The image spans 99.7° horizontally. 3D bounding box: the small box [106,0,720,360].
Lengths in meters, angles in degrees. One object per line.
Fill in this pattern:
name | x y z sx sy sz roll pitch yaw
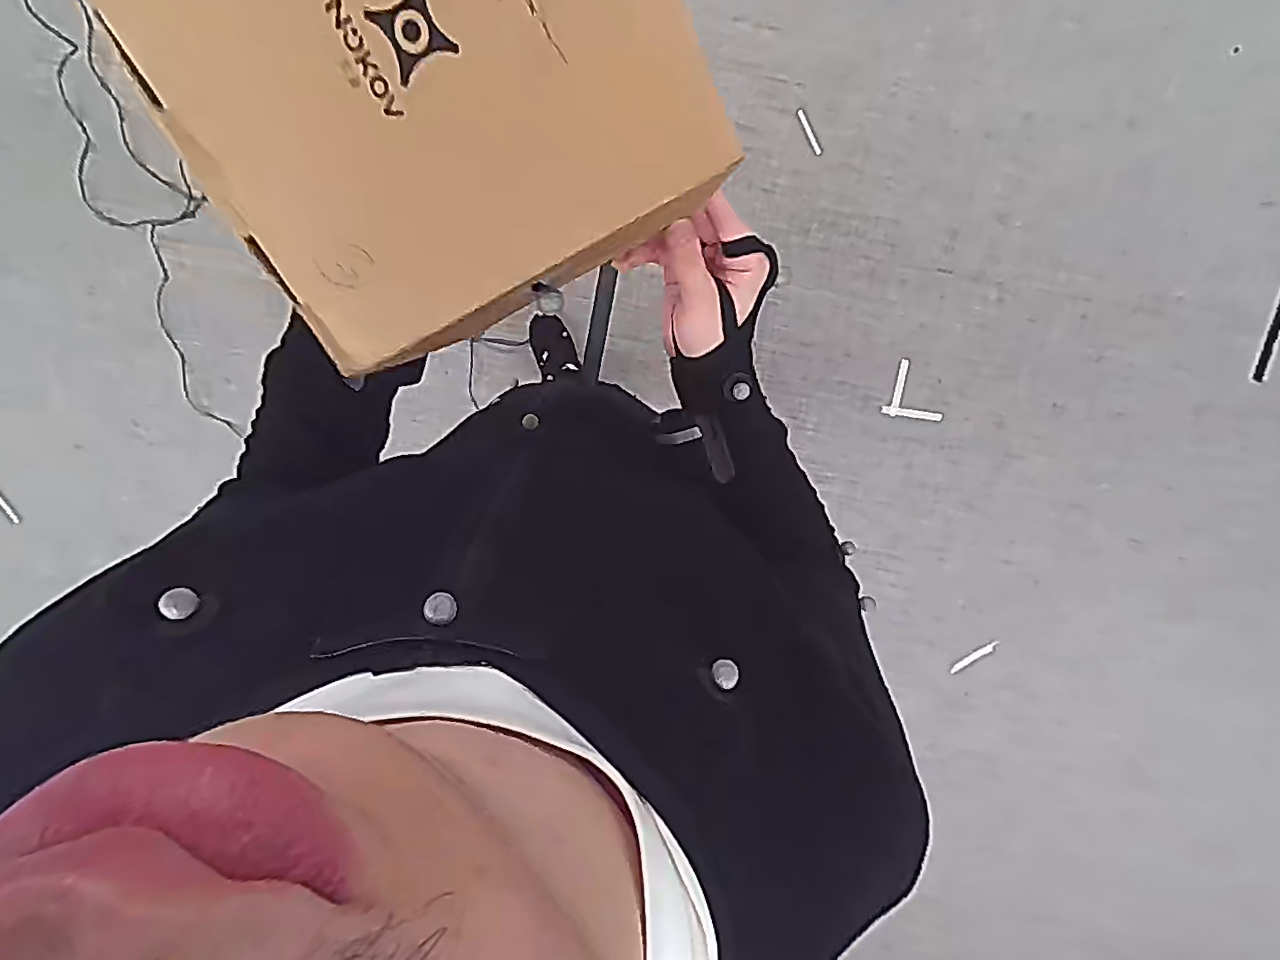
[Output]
small box | -0.079 -0.181 0.266 0.179 0.176 0.168 -26 110 10
